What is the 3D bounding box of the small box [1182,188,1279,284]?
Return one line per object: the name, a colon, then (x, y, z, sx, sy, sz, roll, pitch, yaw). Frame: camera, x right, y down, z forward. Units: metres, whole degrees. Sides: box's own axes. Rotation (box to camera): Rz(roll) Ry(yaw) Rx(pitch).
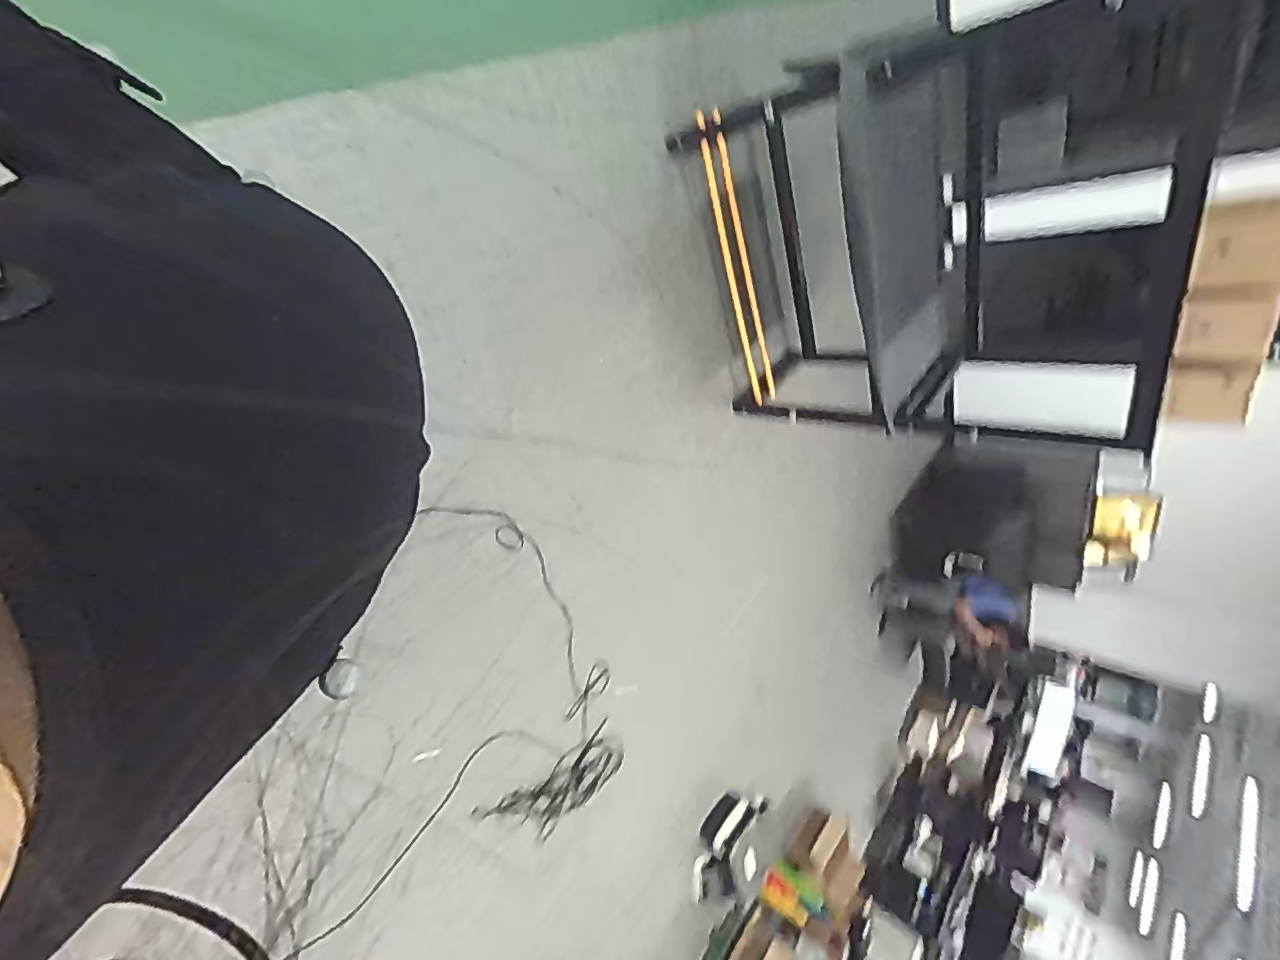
small box: (1.435, -0.582, 1.290, 0.179, 0.176, 0.168, -43, 128, -30)
